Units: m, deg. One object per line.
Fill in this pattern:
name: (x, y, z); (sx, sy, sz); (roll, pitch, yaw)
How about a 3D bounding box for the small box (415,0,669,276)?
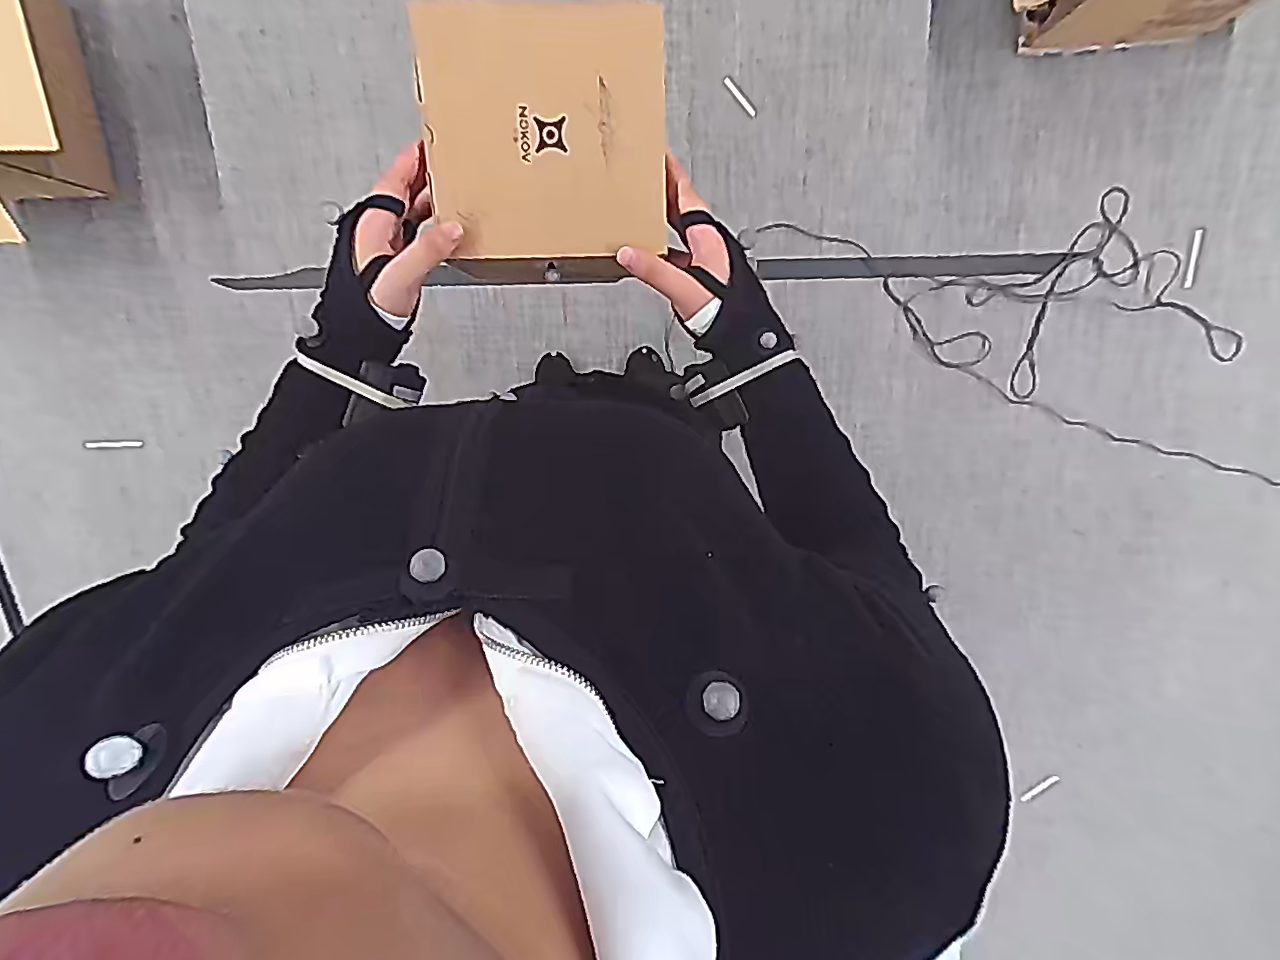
small box: (-0.073, -0.275, 0.474); (0.179, 0.176, 0.168); (-4, 106, -5)
